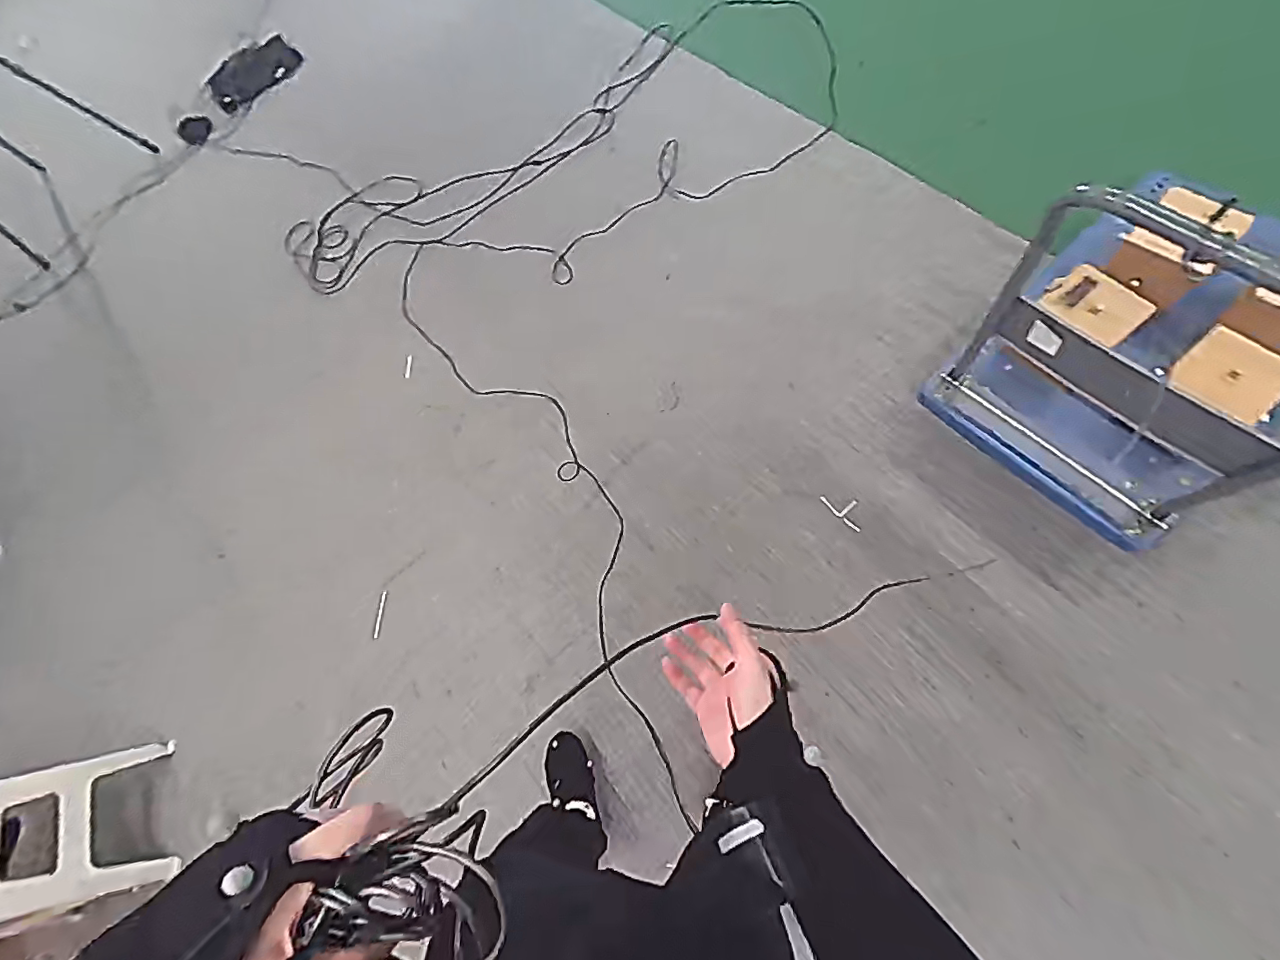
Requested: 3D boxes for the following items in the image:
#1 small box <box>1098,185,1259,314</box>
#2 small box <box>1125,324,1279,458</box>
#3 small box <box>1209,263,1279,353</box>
[{"bbox_3d":[1.202,-0.514,1.228,0.179,0.176,0.168,-46,68,-4],"label":"small box"},{"bbox_3d":[1.176,-0.177,1.119,0.179,0.176,0.168,-42,67,-2],"label":"small box"},{"bbox_3d":[1.375,-0.359,1.131,0.179,0.176,0.168,-46,66,-3],"label":"small box"}]
